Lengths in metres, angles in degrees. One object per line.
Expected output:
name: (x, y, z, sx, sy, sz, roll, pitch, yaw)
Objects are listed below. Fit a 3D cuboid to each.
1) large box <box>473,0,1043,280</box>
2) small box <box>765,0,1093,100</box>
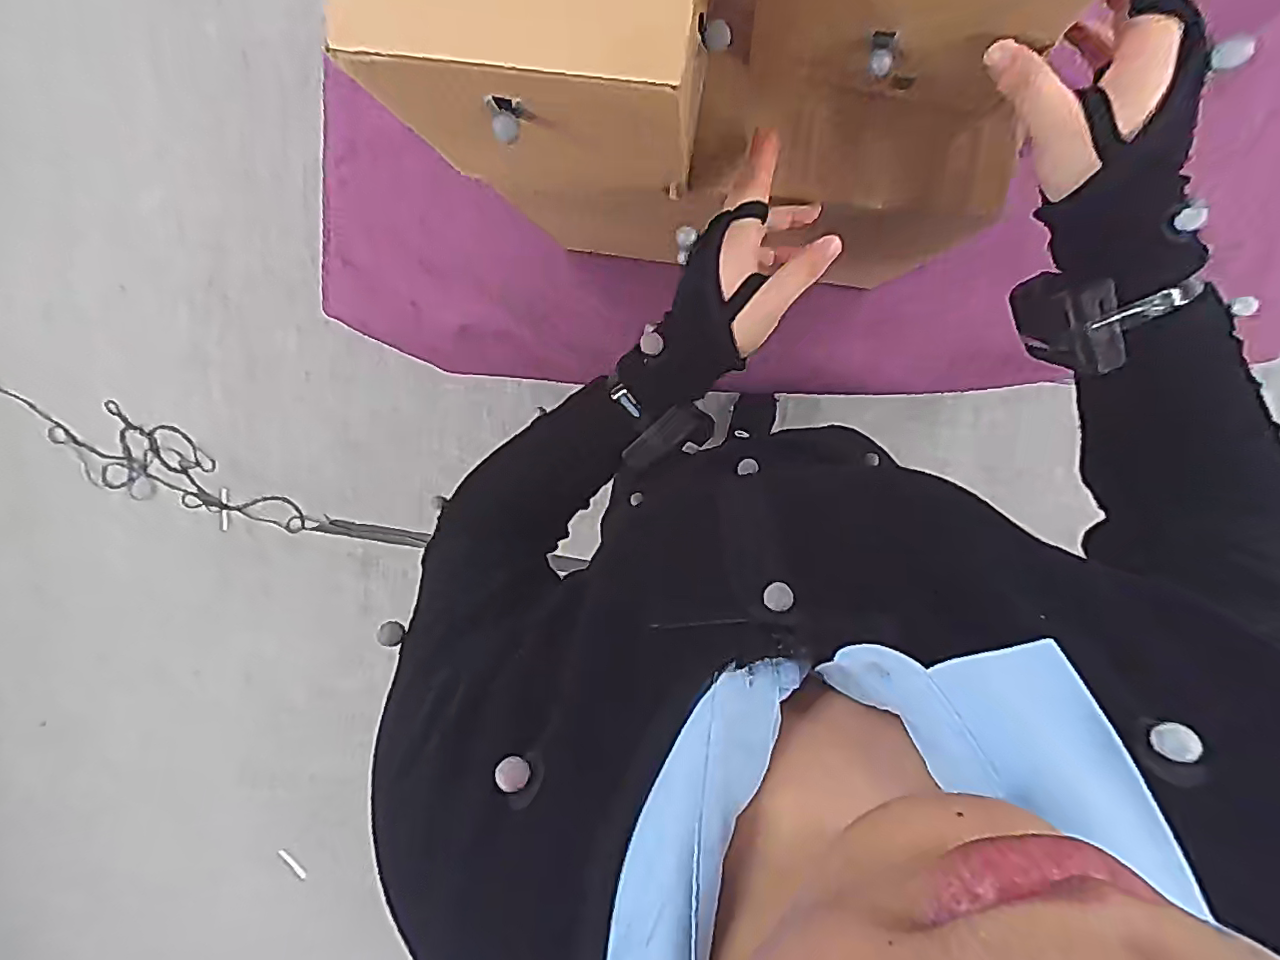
large box: (0.102, -0.390, 0.517, 0.408, 0.320, 0.320, 9, 100, 6)
small box: (0.167, -0.337, 0.267, 0.168, 0.176, 0.179, 16, 102, 5)
